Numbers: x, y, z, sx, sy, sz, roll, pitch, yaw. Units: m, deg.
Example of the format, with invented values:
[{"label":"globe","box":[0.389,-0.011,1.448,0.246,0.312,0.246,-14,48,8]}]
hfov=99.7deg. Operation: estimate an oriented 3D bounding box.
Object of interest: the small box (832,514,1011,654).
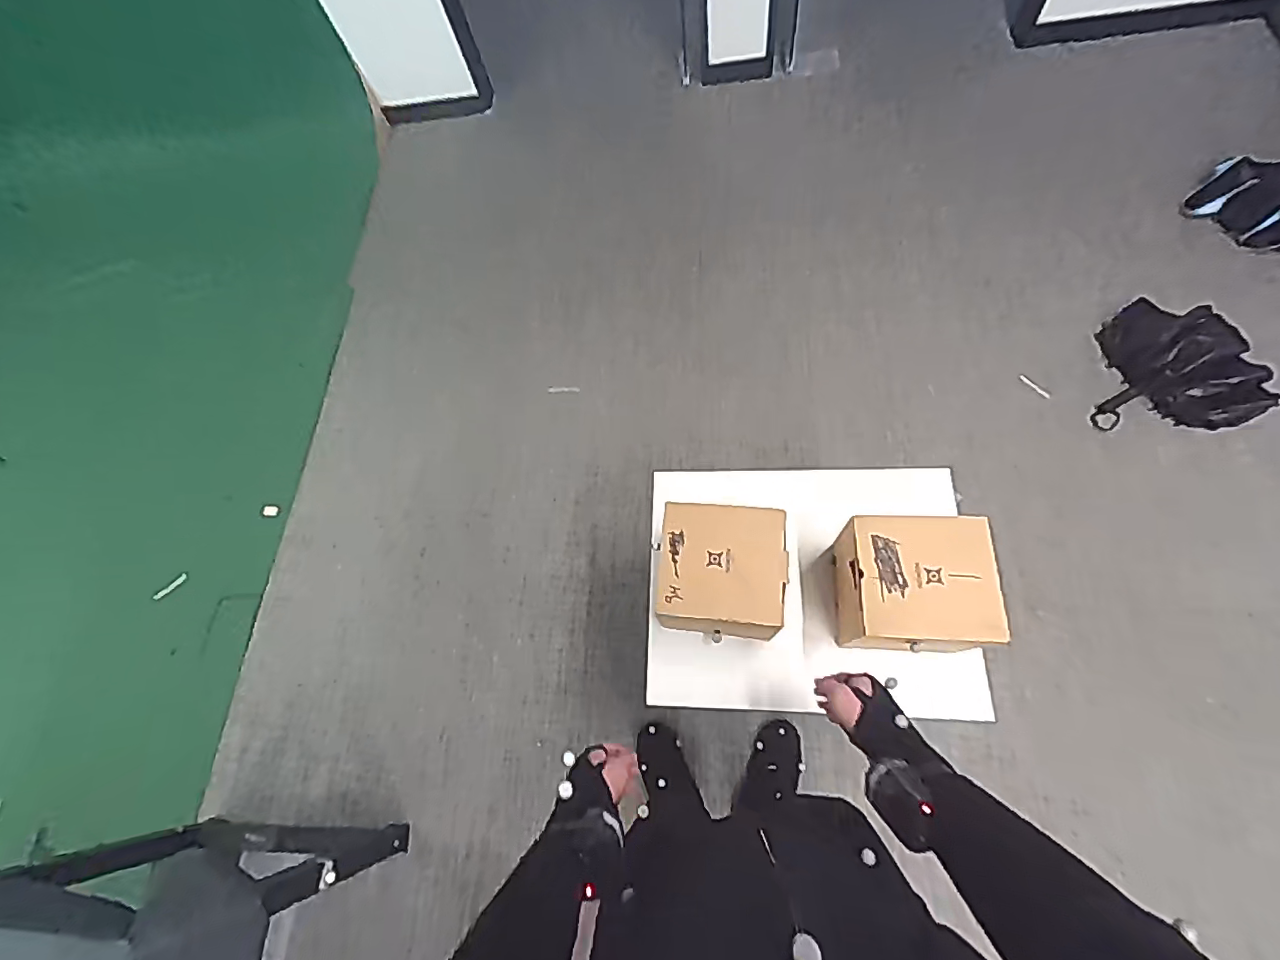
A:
[{"label":"small box","box":[0.383,0.155,0.776,0.179,0.176,0.168,1,67,5]}]

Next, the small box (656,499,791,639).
[{"label":"small box","box":[0.120,0.140,0.808,0.179,0.176,0.168,5,67,6]}]
